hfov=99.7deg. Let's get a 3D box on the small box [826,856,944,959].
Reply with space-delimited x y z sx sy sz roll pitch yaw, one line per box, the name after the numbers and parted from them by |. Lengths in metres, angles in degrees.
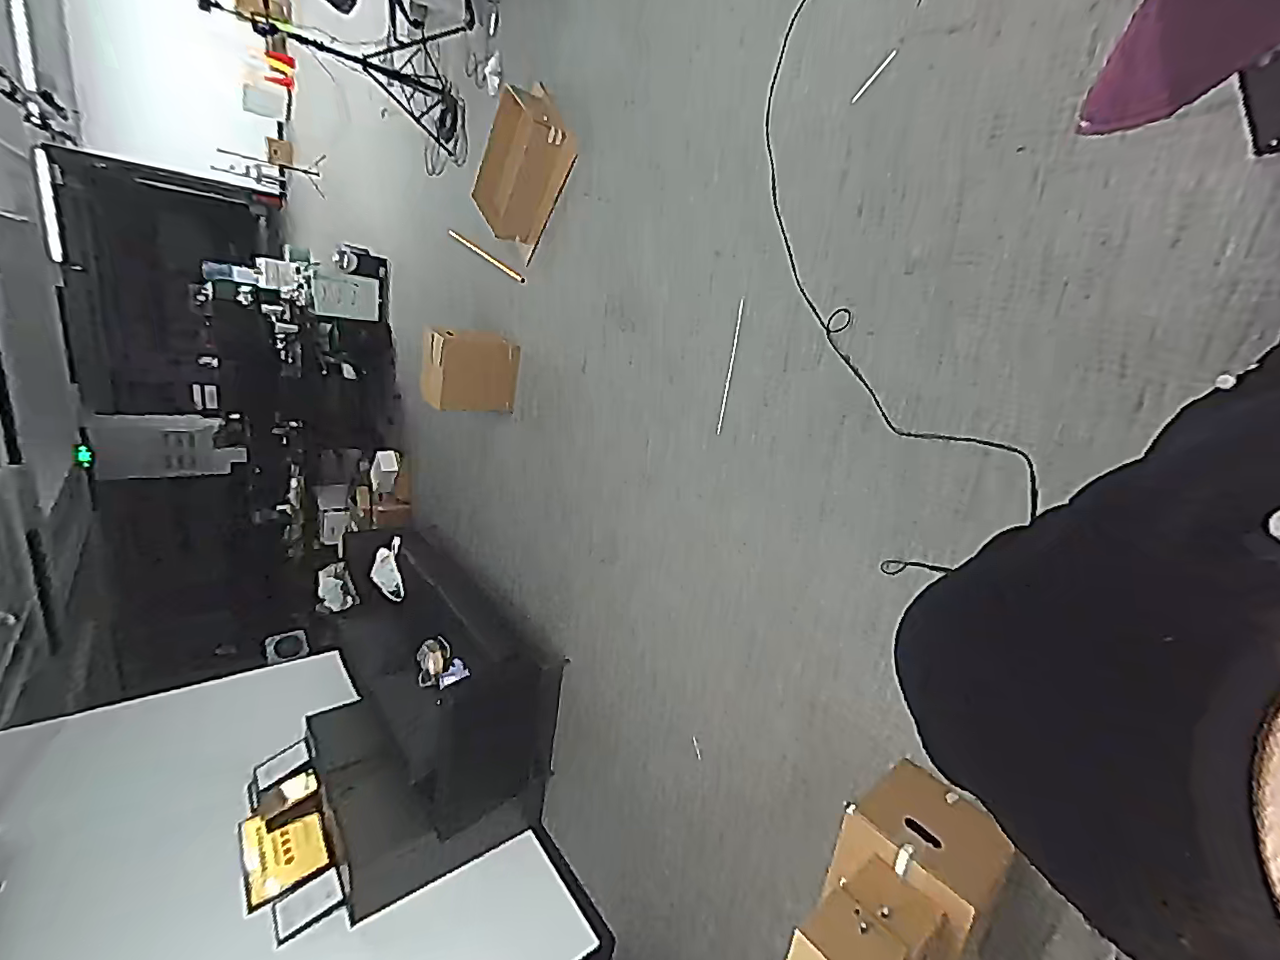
0.564 1.018 1.248 0.179 0.176 0.168 22 111 45 | small box
